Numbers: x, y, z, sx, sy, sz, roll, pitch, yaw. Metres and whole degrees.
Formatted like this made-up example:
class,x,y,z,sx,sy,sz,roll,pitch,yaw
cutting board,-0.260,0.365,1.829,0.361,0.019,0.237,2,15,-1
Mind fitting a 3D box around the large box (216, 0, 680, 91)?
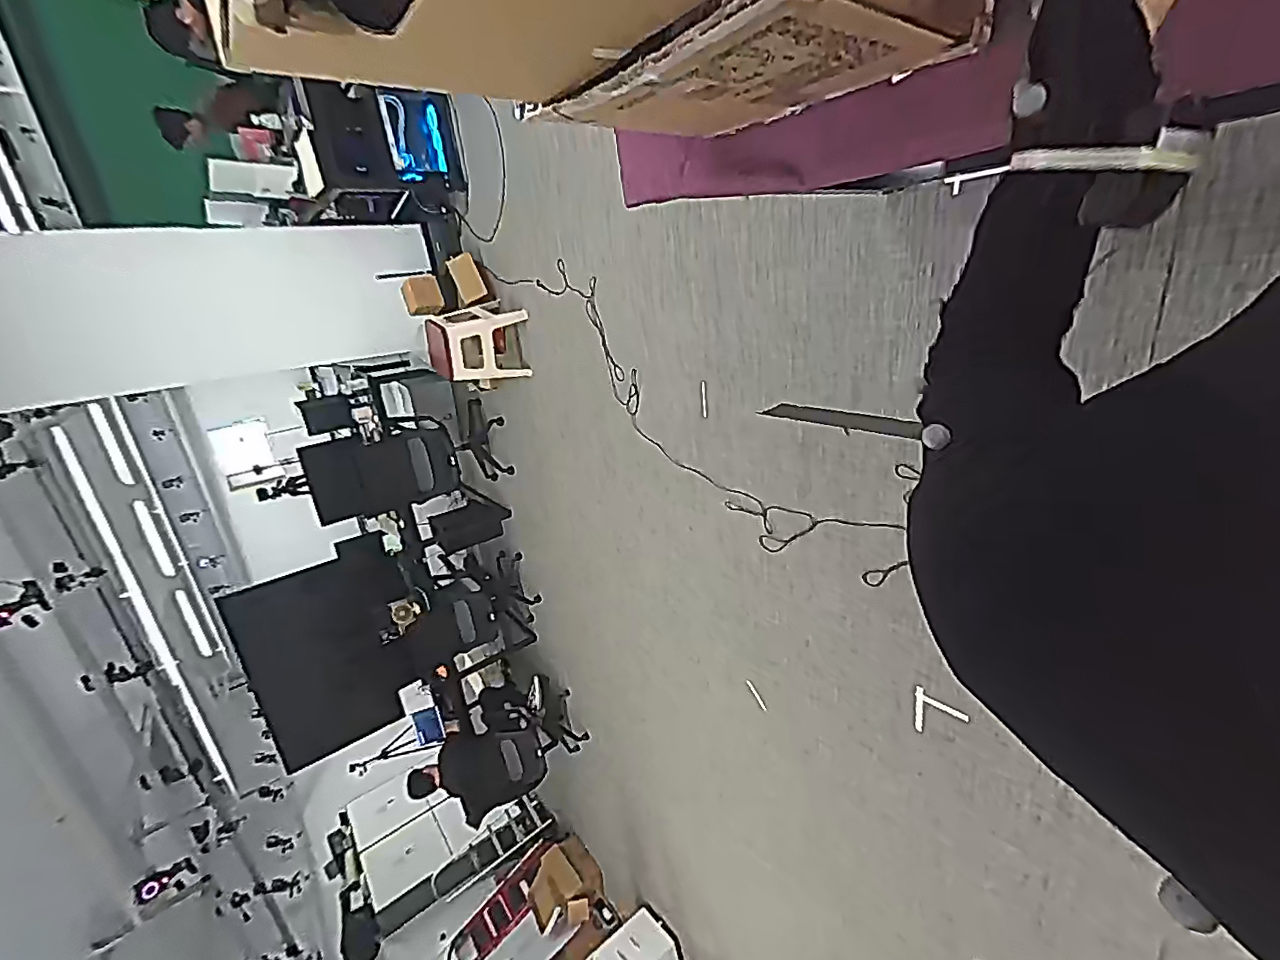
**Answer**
class,x,y,z,sx,sy,sz,roll,pitch,yaw
large box,-0.148,-0.543,0.343,0.320,0.320,0.408,20,123,52
